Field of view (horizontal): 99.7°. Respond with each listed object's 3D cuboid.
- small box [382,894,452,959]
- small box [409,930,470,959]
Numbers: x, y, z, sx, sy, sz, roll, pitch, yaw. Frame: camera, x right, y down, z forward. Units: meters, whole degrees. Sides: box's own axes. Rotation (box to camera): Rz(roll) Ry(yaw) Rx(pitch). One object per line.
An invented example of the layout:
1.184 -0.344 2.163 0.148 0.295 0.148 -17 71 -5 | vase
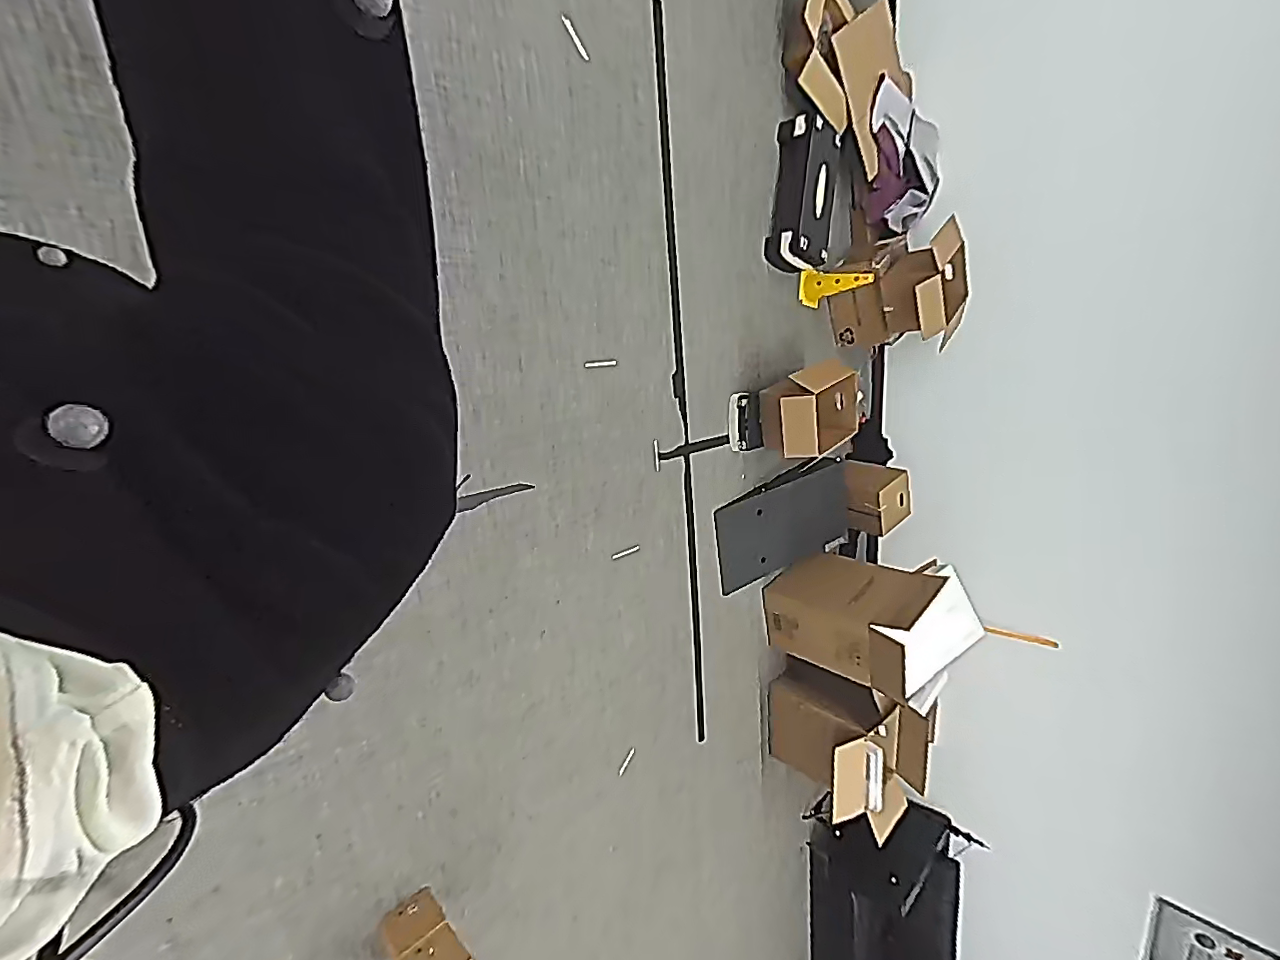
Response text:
-0.722 1.526 1.772 0.168 0.176 0.179 -18 109 -43 | small box
-0.607 1.554 1.658 0.168 0.176 0.179 -18 109 -43 | small box
